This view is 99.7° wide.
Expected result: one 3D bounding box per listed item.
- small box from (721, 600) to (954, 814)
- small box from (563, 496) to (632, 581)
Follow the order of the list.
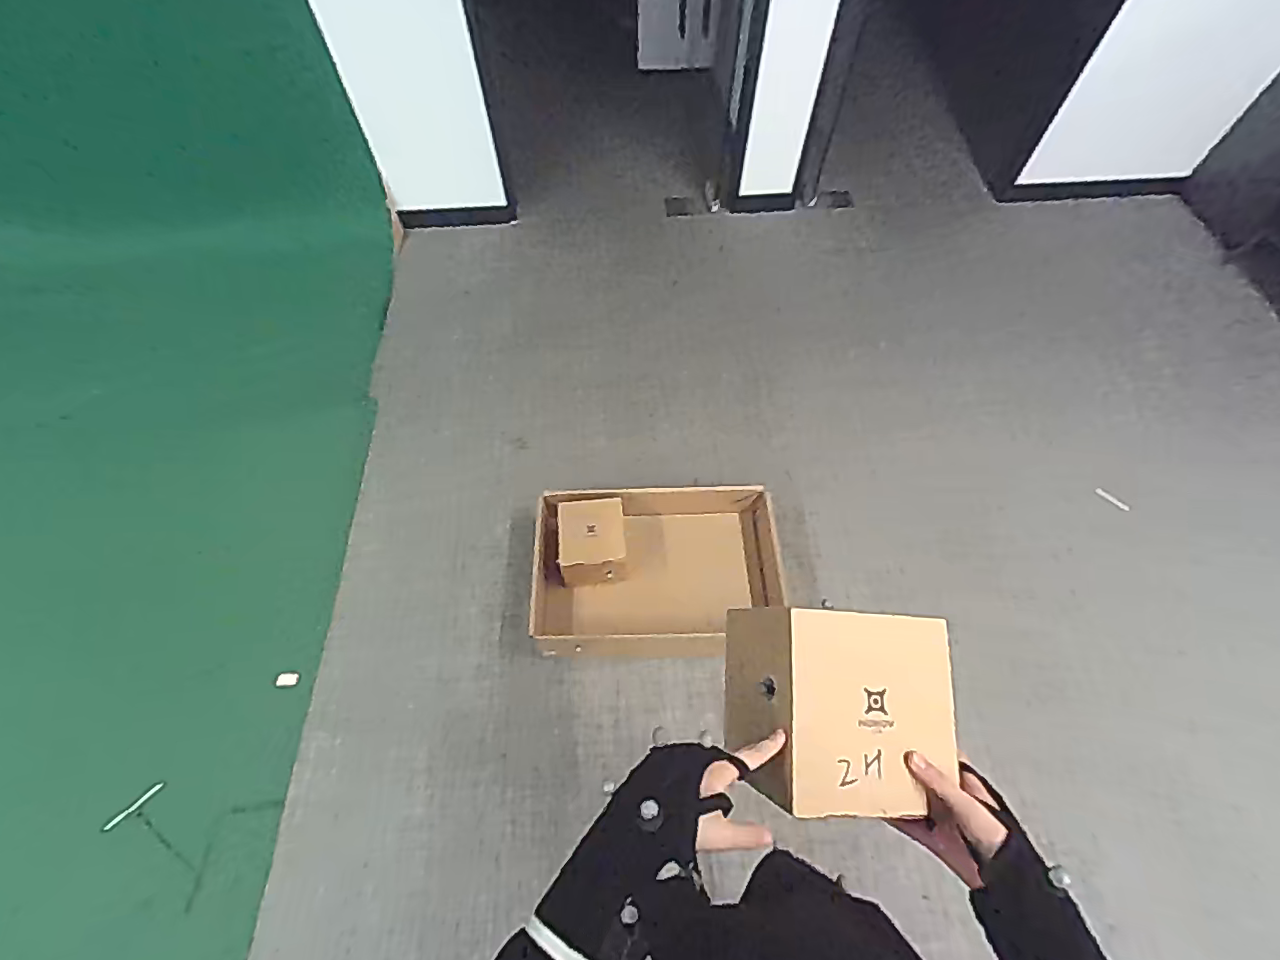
[{"bbox_3d":[0.189,0.223,0.564,0.168,0.176,0.179,6,75,-9],"label":"small box"},{"bbox_3d":[-0.110,0.161,1.423,0.168,0.176,0.179,-4,61,-2],"label":"small box"}]
